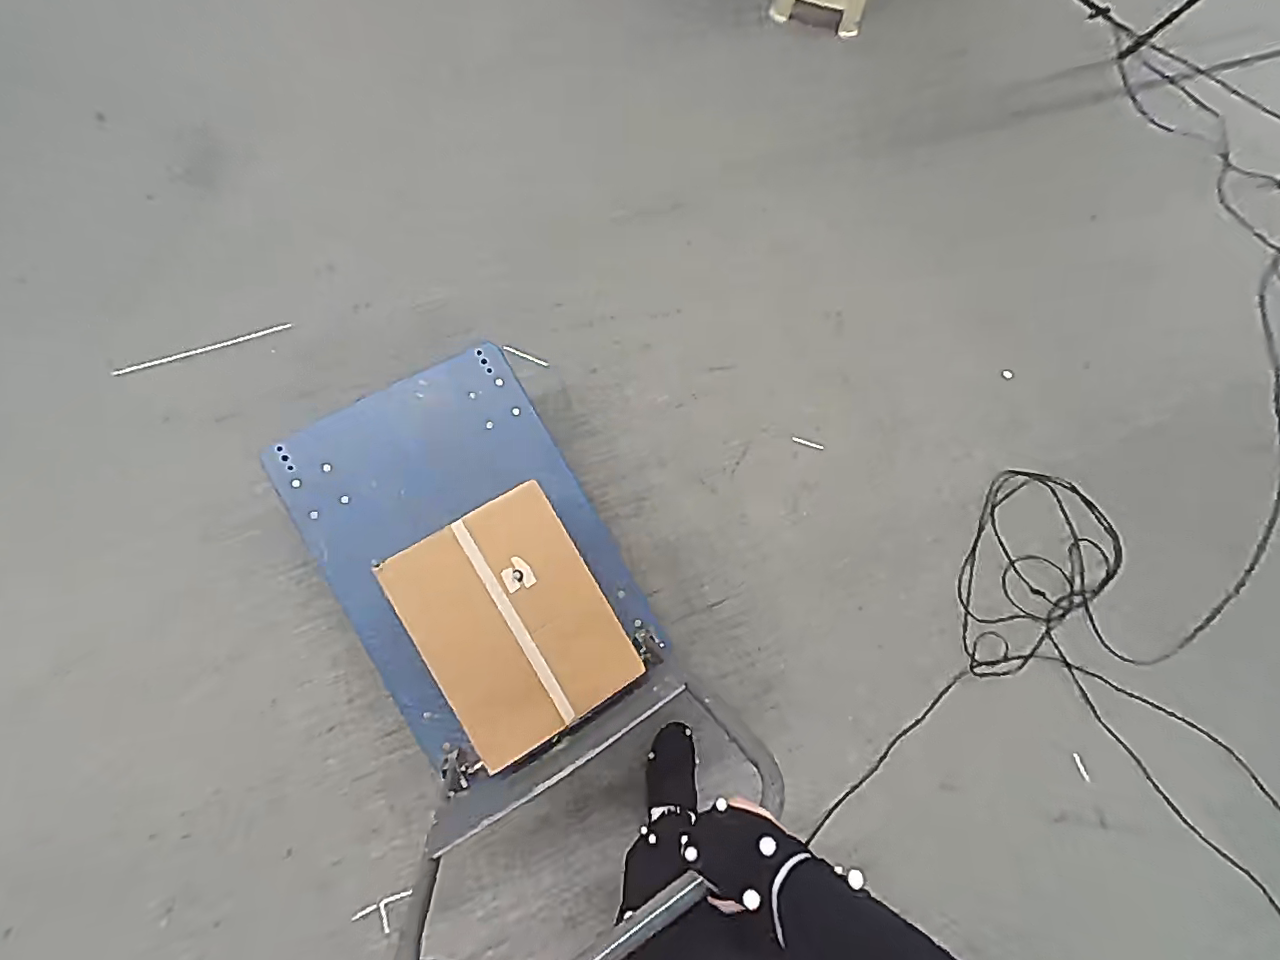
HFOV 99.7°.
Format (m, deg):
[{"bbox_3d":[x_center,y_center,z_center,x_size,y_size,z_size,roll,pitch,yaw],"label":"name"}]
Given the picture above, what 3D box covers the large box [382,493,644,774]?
[{"bbox_3d":[-0.241,0.286,1.106,0.320,0.320,0.408,-31,88,-13],"label":"large box"}]
